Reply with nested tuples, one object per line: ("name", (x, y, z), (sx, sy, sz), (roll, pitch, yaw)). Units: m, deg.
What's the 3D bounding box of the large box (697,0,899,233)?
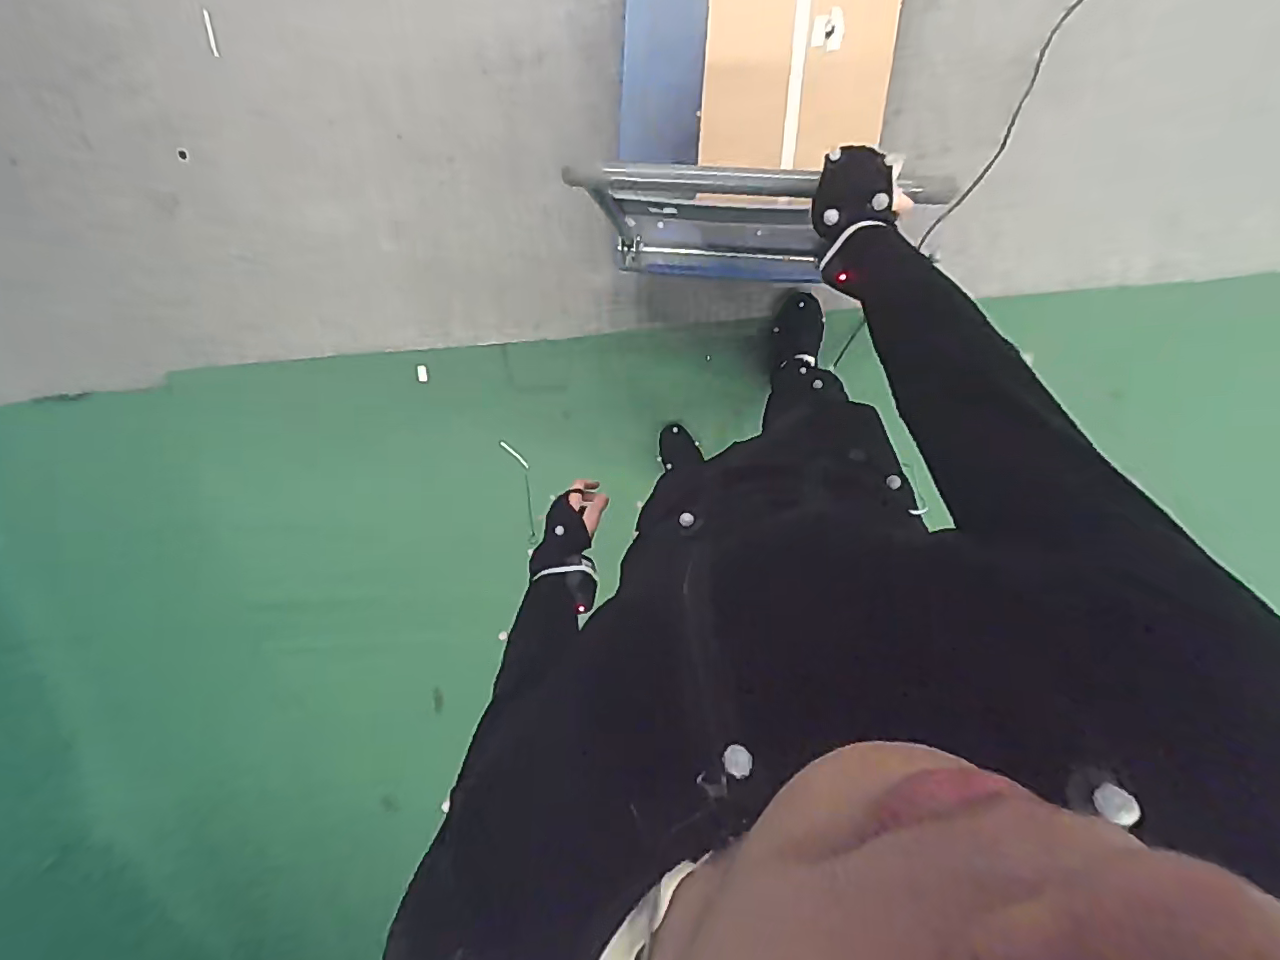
("large box", (0.286, -0.728, 1.068), (0.320, 0.320, 0.408), (5, 106, 6))
